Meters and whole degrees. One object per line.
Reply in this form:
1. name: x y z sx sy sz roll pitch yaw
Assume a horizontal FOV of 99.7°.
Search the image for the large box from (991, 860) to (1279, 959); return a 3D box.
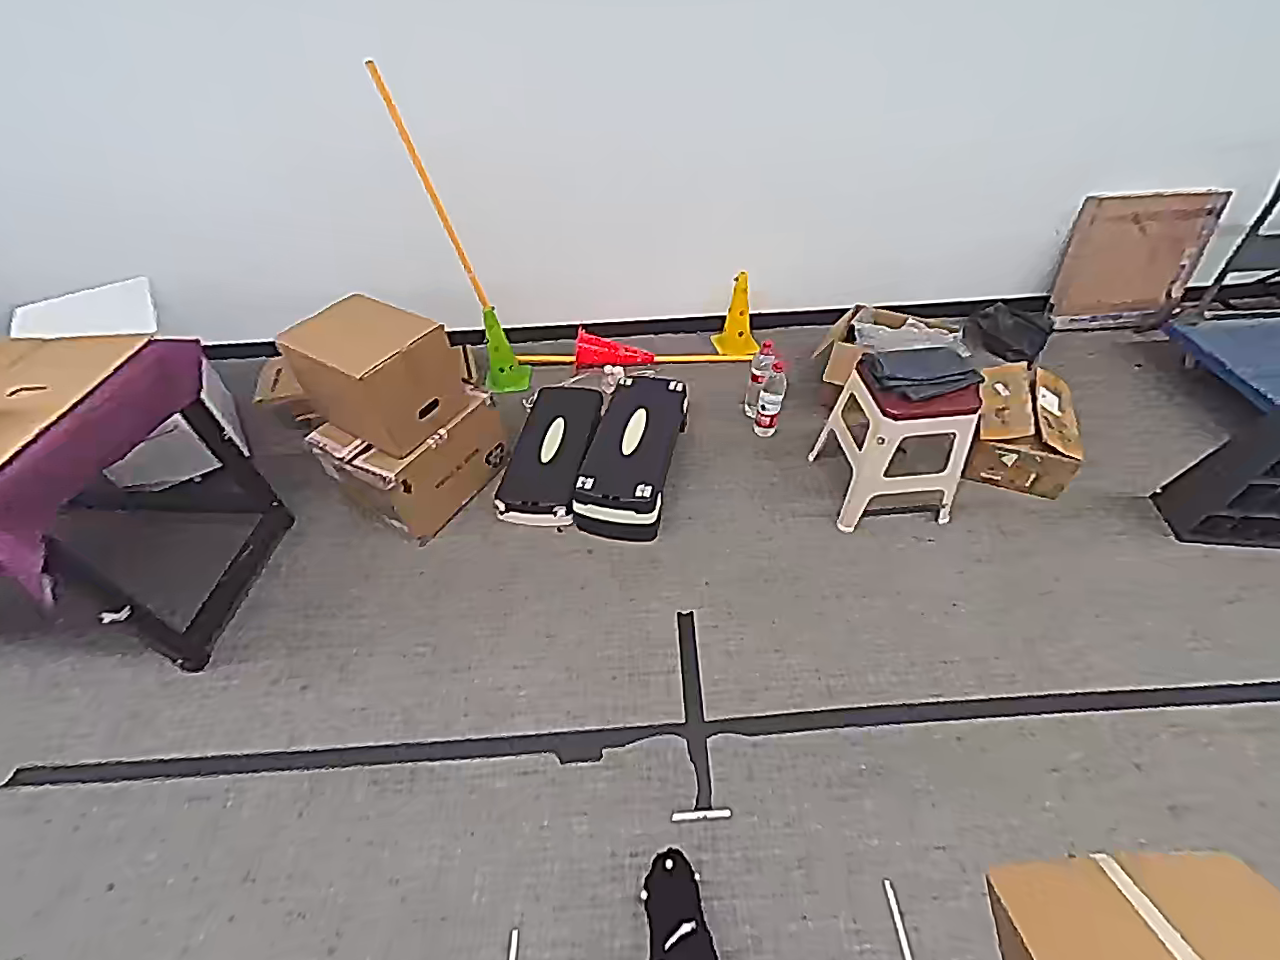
1. large box: 0.650 0.703 0.576 0.320 0.320 0.408 -12 3 12
